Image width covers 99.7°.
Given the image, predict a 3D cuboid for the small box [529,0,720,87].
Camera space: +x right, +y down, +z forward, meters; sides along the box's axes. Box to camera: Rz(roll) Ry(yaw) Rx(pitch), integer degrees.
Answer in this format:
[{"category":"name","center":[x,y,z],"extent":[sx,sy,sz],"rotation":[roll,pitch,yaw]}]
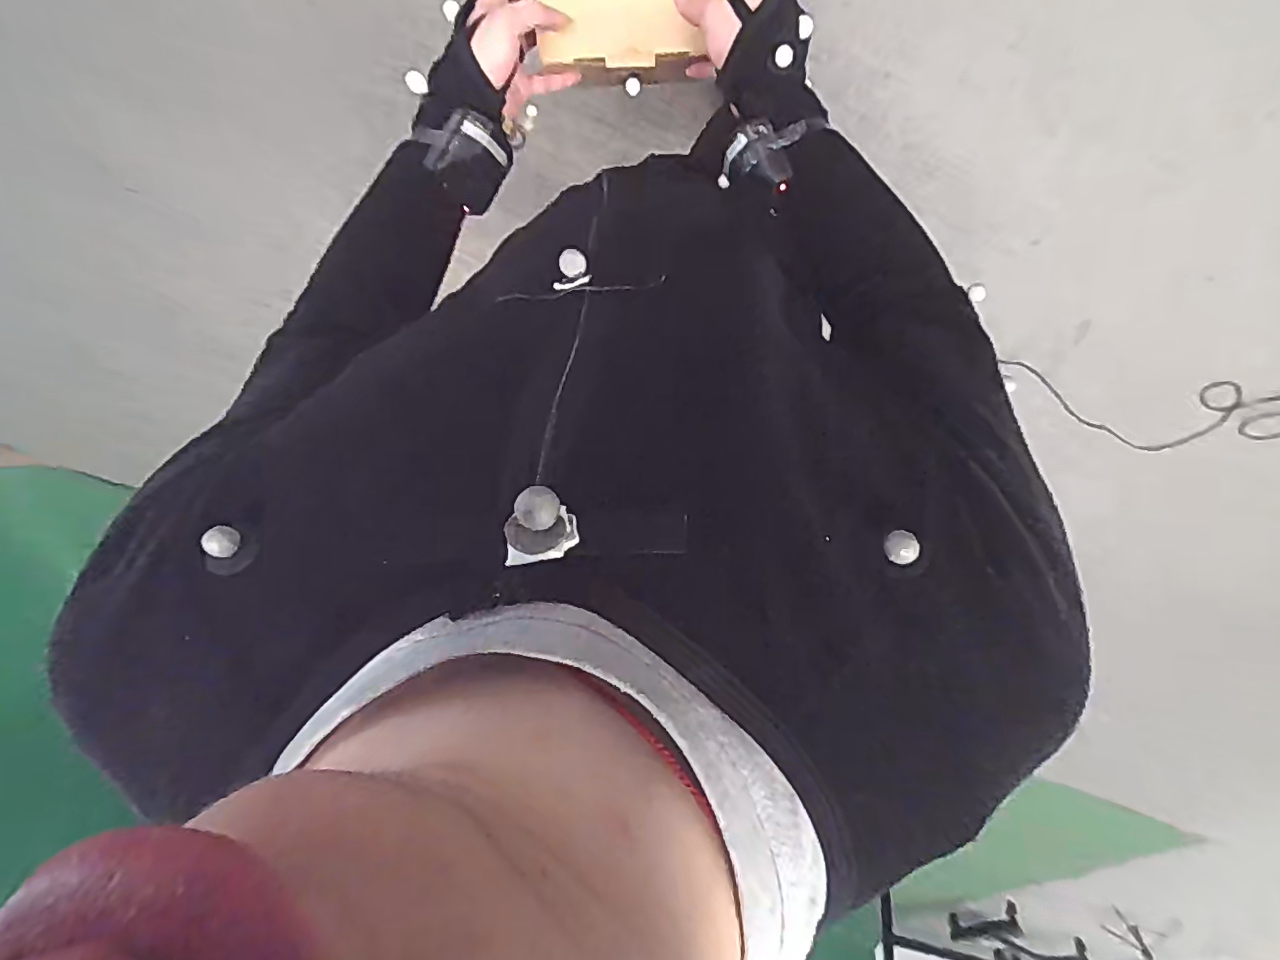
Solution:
[{"category":"small box","center":[-0.010,-0.481,0.503],"extent":[0.168,0.176,0.179],"rotation":[-1,119,3]}]
